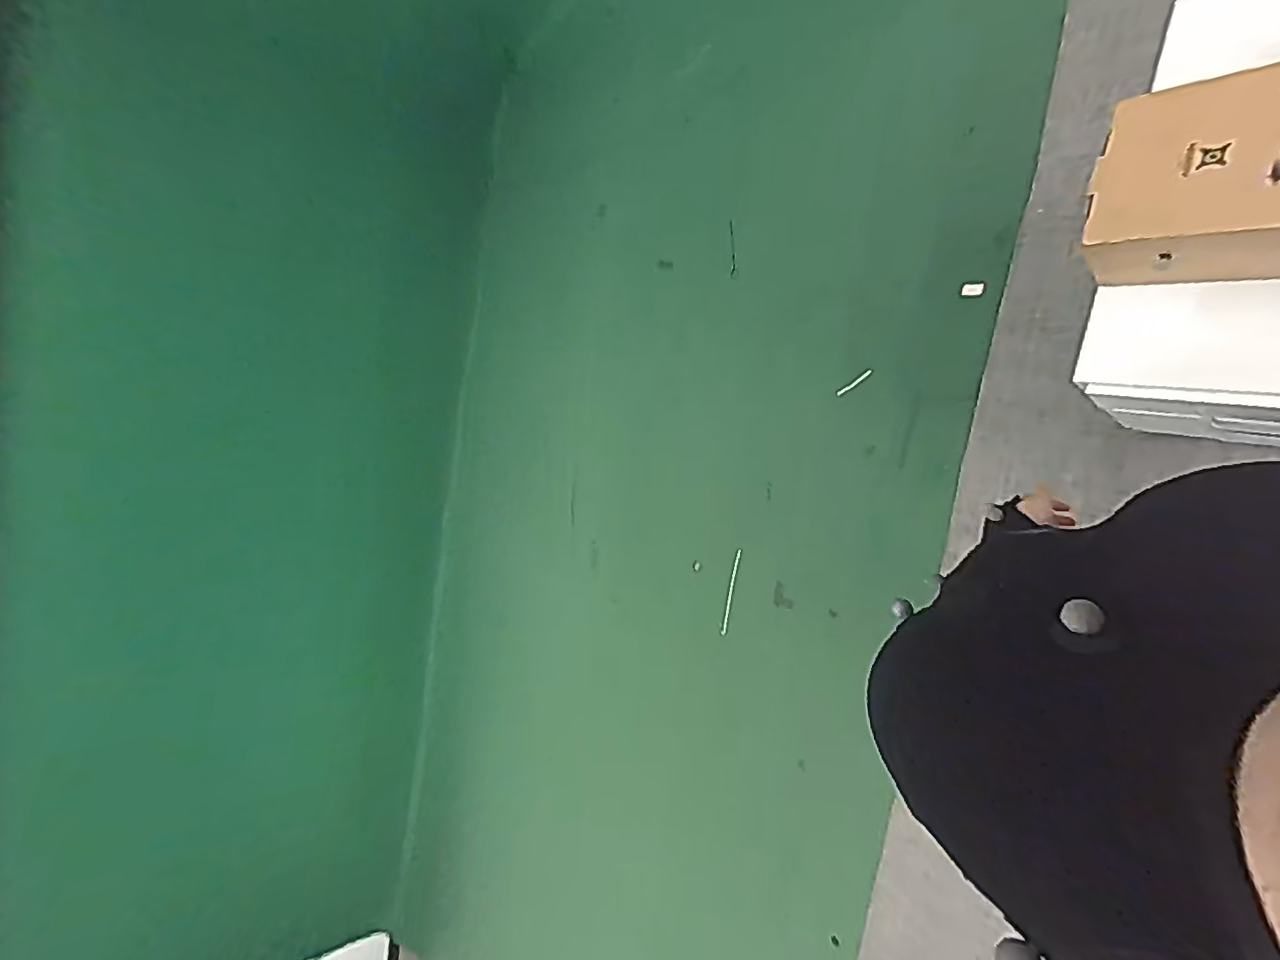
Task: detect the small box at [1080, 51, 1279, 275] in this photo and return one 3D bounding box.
[{"bbox_3d":[0.652,-0.346,0.624,0.179,0.176,0.168,17,100,47],"label":"small box"}]
